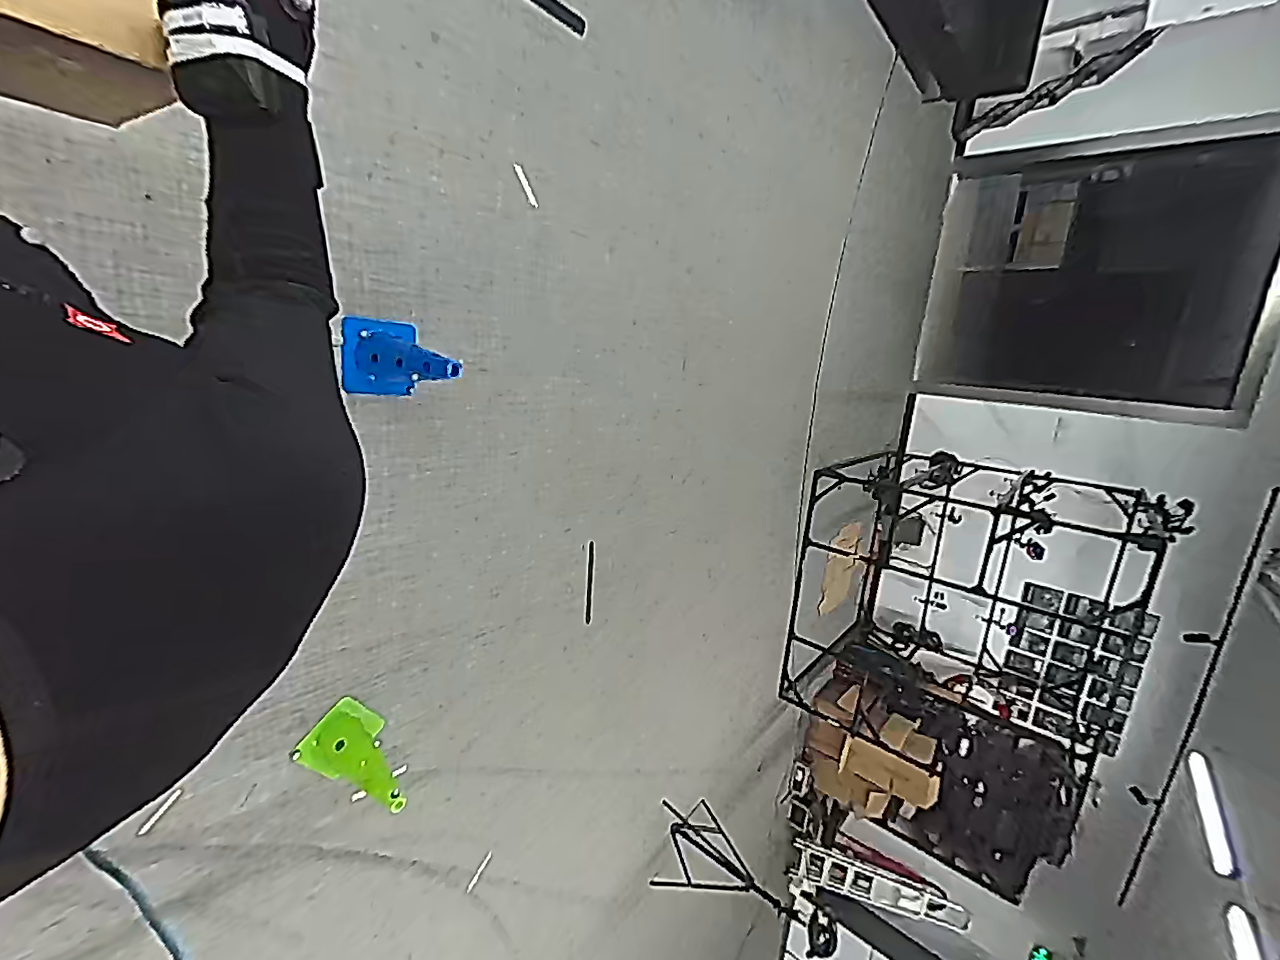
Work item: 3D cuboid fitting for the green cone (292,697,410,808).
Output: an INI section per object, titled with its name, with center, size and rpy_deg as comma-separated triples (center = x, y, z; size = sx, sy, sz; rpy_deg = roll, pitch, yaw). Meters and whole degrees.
[green cone]
center = -0.759, 0.804, 1.508
size = 0.202, 0.368, 0.200
rpy_deg = -53, 139, -29

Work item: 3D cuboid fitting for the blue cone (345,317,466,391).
[blue cone]
center = -0.578, -0.306, 1.378
size = 0.192, 0.380, 0.193
rpy_deg = -7, 108, -52

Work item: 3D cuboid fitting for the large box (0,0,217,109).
[large box]
center = -0.522, -0.452, 0.275
size = 0.408, 0.320, 0.320
rpy_deg = -12, 117, -52
